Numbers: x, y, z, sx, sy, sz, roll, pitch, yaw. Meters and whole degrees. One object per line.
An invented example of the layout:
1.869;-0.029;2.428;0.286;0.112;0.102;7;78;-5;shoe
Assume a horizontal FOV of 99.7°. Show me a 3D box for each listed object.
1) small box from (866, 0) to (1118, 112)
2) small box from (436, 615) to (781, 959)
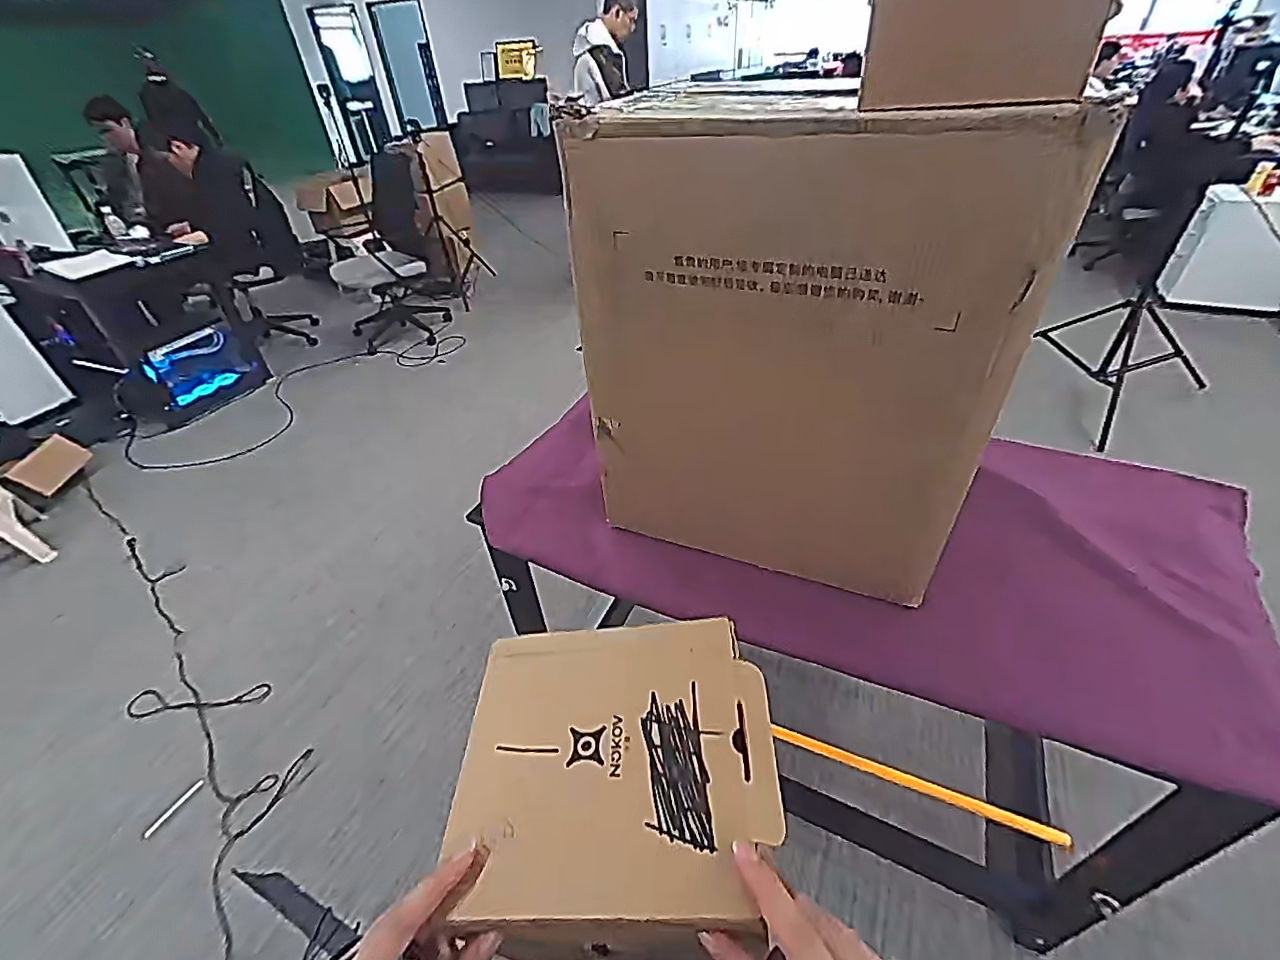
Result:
0.308;-0.432;0.471;0.179;0.176;0.168;13;43;23;small box
-0.004;0.215;0.375;0.179;0.176;0.168;-7;42;8;small box
